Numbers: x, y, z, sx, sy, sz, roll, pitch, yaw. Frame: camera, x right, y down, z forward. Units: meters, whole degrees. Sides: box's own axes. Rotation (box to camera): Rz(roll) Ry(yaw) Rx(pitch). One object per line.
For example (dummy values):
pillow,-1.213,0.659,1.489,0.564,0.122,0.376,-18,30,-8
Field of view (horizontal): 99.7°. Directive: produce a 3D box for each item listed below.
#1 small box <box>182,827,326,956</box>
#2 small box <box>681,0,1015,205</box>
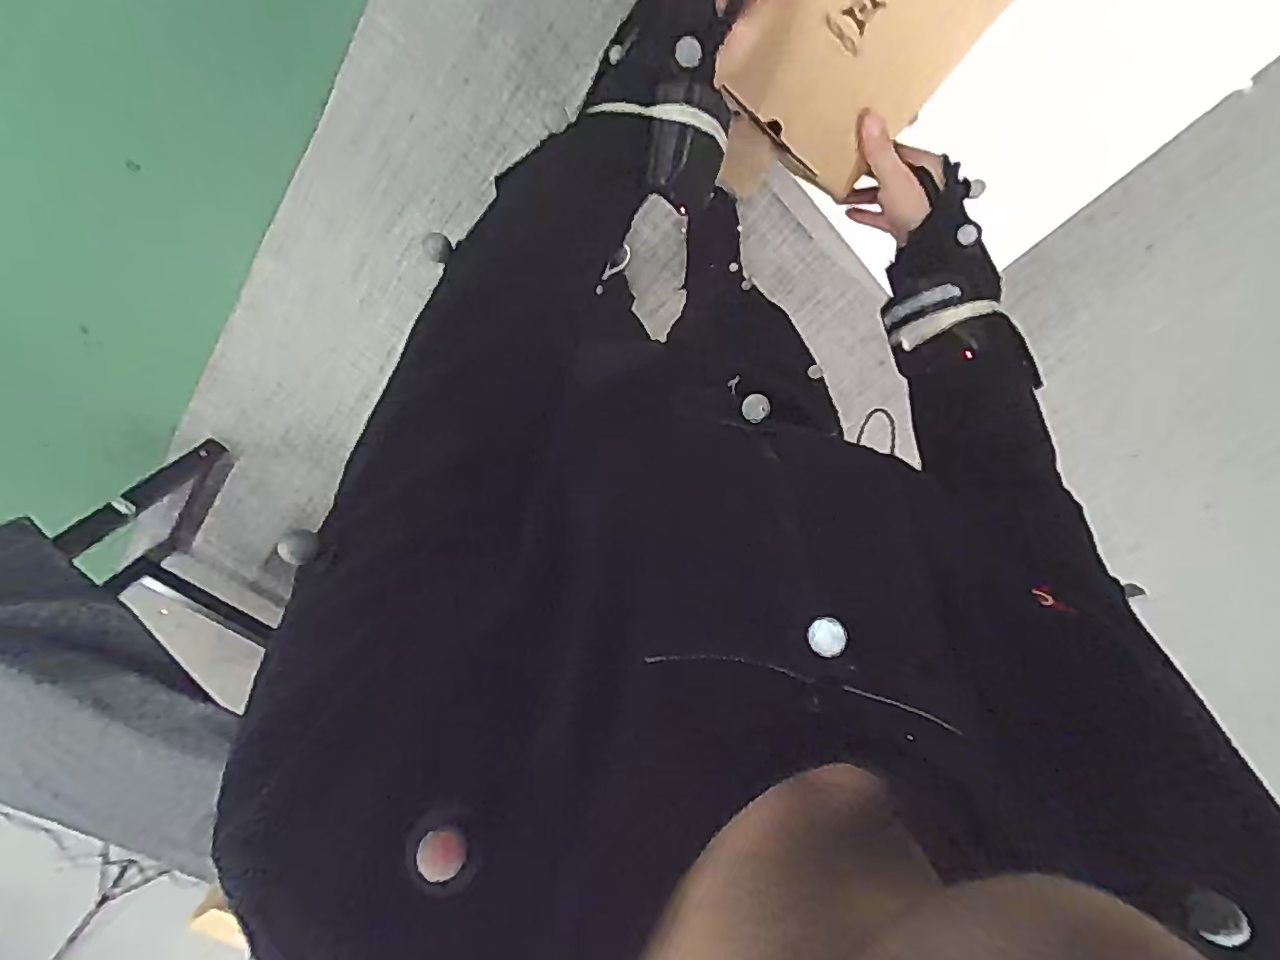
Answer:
small box,-0.850,0.916,1.208,0.179,0.176,0.168,42,116,-18
small box,0.146,-0.369,0.438,0.168,0.176,0.179,29,123,-22
